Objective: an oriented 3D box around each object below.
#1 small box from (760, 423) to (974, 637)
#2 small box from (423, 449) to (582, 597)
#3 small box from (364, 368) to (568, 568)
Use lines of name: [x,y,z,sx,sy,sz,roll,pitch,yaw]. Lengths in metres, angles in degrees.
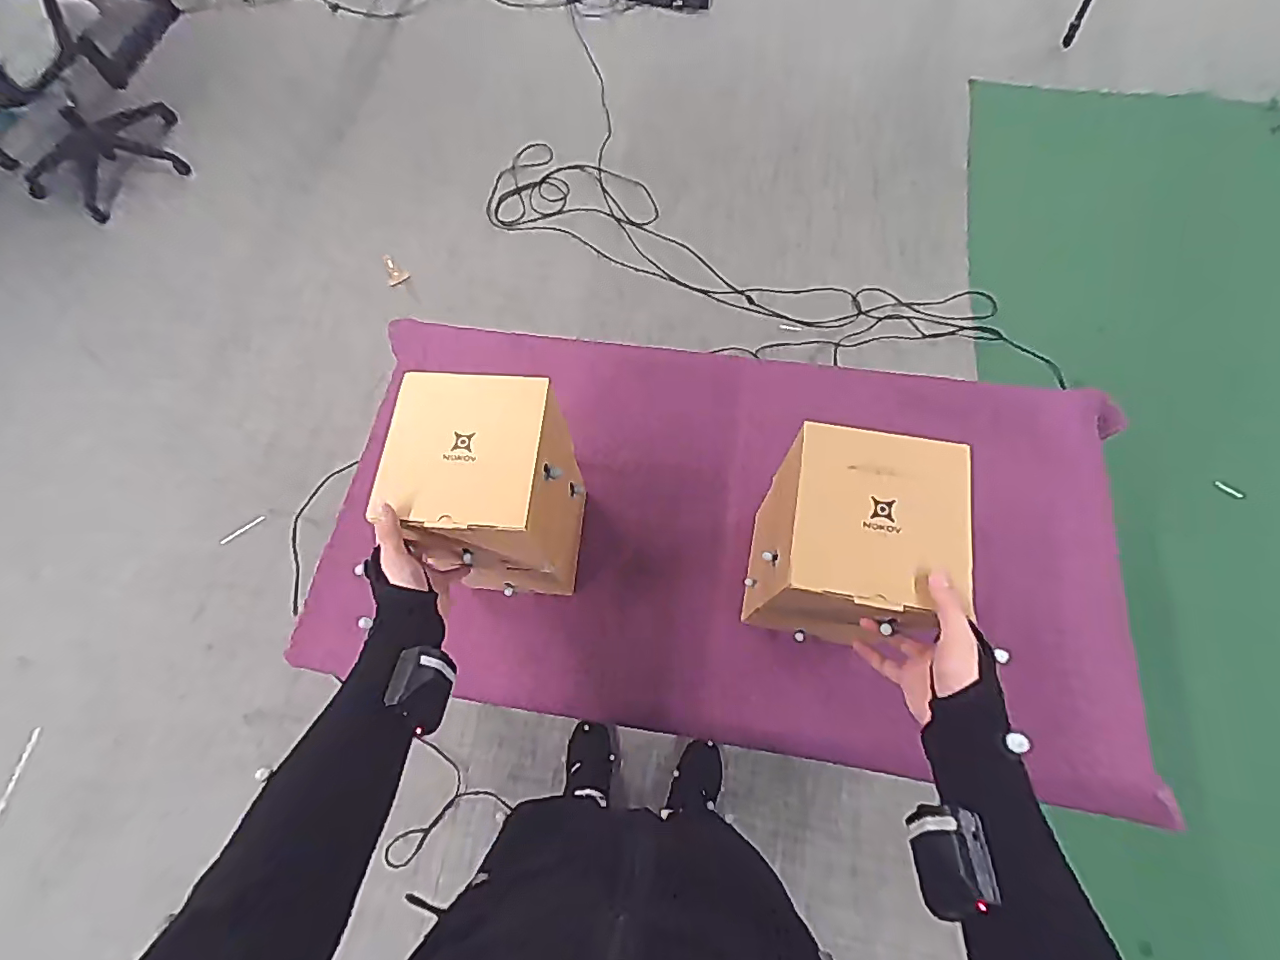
small box: [0.232,0.064,0.585,0.168,0.176,0.179,11,70,6]
small box: [-0.182,0.060,0.778,0.168,0.176,0.179,4,68,4]
small box: [-0.182,-0.007,0.630,0.168,0.176,0.179,4,69,3]
